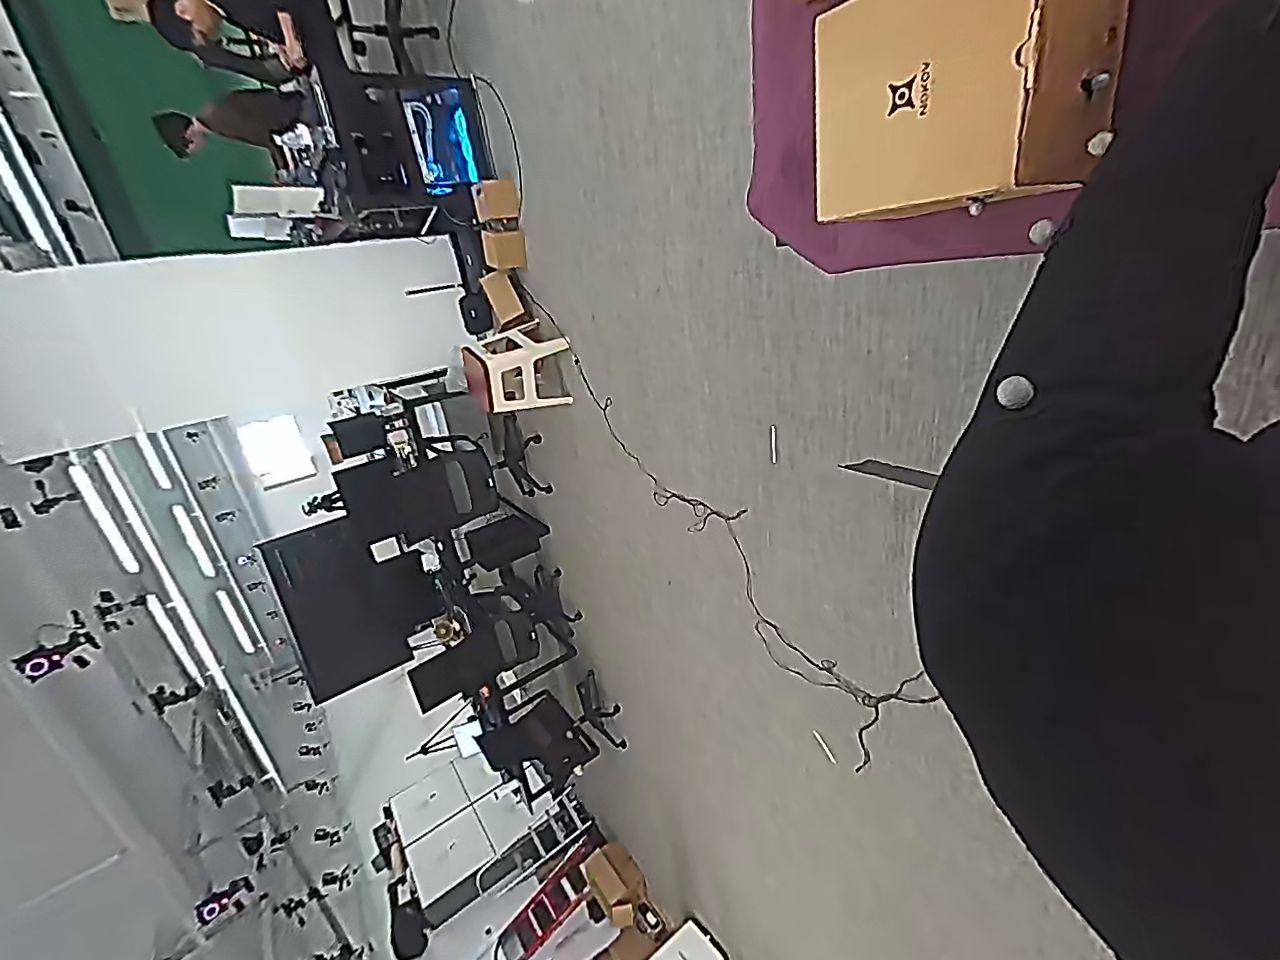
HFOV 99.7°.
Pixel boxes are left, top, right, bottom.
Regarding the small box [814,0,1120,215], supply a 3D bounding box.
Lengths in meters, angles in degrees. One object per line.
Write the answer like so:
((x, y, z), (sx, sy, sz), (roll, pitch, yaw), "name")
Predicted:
((0.279, -0.341, 0.482), (0.179, 0.176, 0.168), (20, 124, 52), "small box")
